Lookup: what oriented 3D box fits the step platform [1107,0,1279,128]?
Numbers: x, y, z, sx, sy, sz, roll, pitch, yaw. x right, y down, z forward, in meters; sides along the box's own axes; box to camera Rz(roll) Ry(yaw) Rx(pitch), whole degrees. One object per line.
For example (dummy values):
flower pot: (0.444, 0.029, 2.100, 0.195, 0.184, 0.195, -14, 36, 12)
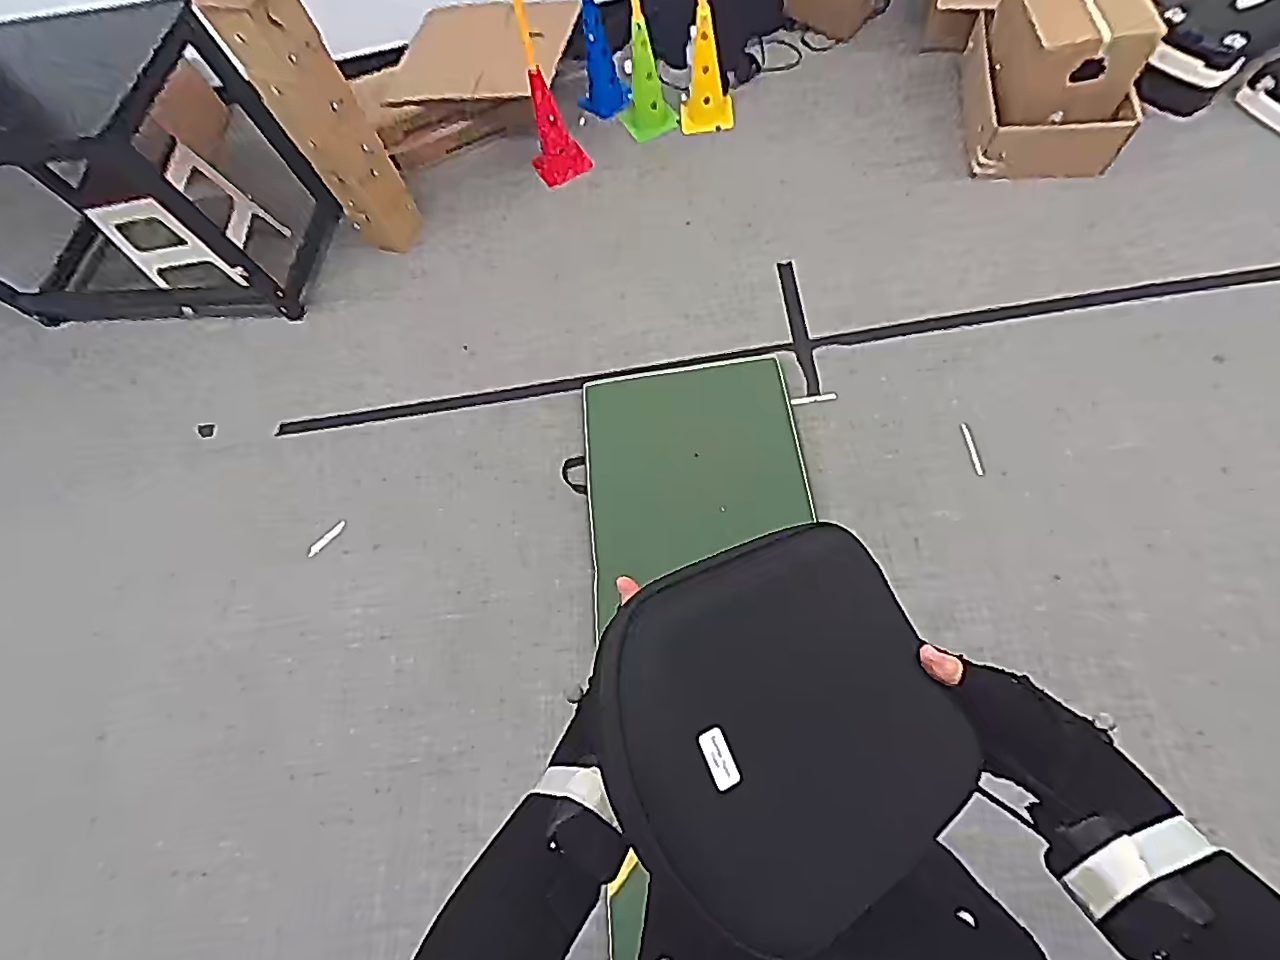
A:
step platform: (1.975, -1.485, 1.815, 0.684, 0.204, 0.286, -34, 67, -6)
